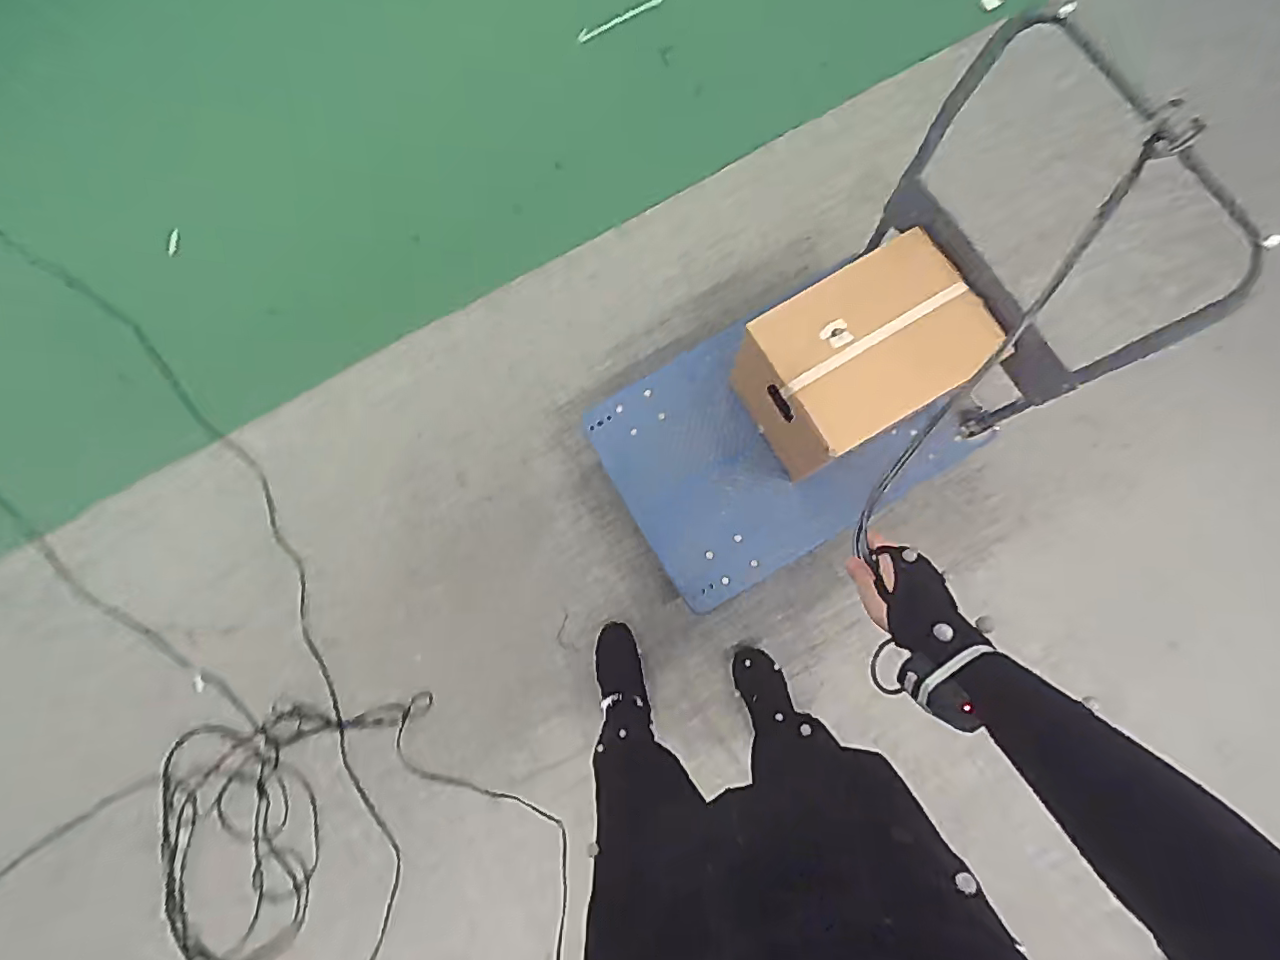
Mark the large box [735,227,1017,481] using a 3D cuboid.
[{"bbox_3d":[0.468,-0.243,1.166,0.408,0.320,0.320,-31,80,-1],"label":"large box"}]
